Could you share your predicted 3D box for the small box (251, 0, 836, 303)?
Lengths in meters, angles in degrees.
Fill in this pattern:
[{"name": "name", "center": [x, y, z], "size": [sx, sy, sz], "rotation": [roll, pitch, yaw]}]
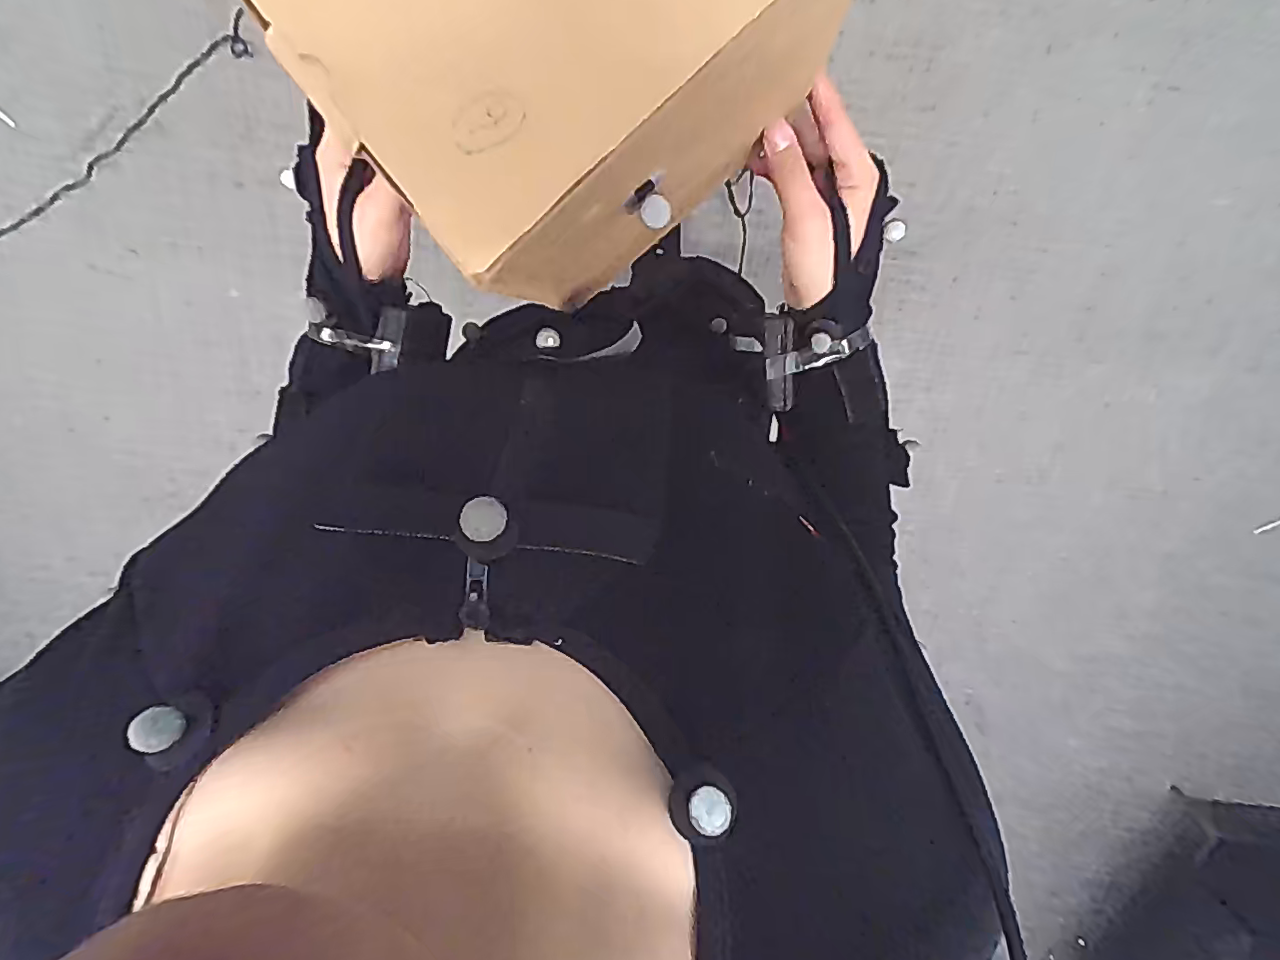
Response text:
[{"name": "small box", "center": [-0.030, -0.200, 0.242], "size": [0.179, 0.176, 0.168], "rotation": [-37, 98, 13]}]
